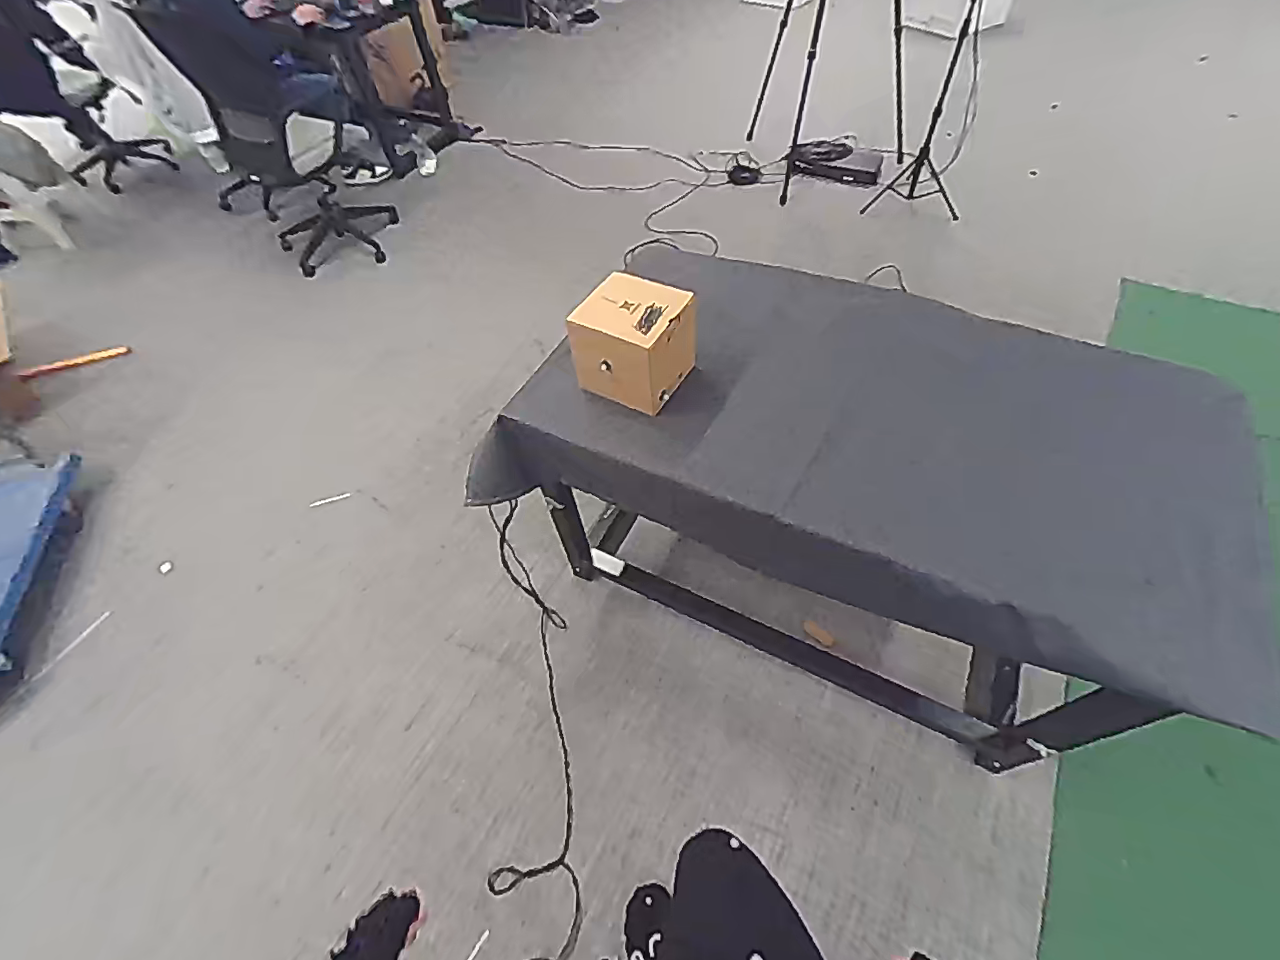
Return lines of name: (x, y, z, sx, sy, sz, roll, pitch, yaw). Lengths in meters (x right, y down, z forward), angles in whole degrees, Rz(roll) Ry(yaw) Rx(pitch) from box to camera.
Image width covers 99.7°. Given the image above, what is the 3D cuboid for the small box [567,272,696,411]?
small box: (-0.009, -0.256, 1.019, 0.179, 0.176, 0.168, 24, 59, 21)
